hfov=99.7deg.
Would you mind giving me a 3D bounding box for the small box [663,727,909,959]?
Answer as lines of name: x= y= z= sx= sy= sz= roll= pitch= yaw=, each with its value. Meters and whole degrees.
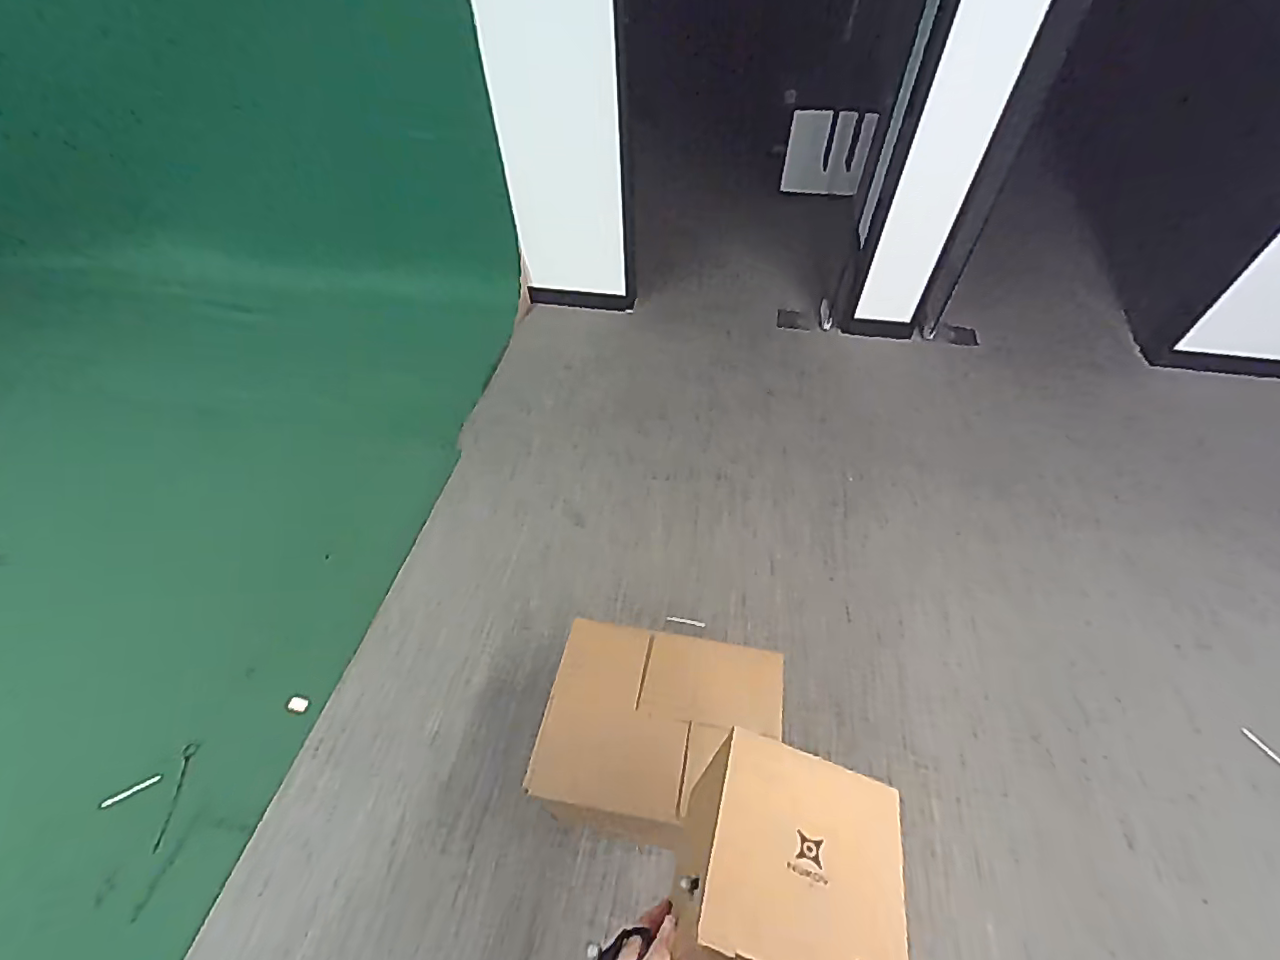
small box: x=0.130 y=0.379 z=0.513 sx=0.168 sy=0.176 sz=0.179 roll=19 pitch=42 yaw=7
